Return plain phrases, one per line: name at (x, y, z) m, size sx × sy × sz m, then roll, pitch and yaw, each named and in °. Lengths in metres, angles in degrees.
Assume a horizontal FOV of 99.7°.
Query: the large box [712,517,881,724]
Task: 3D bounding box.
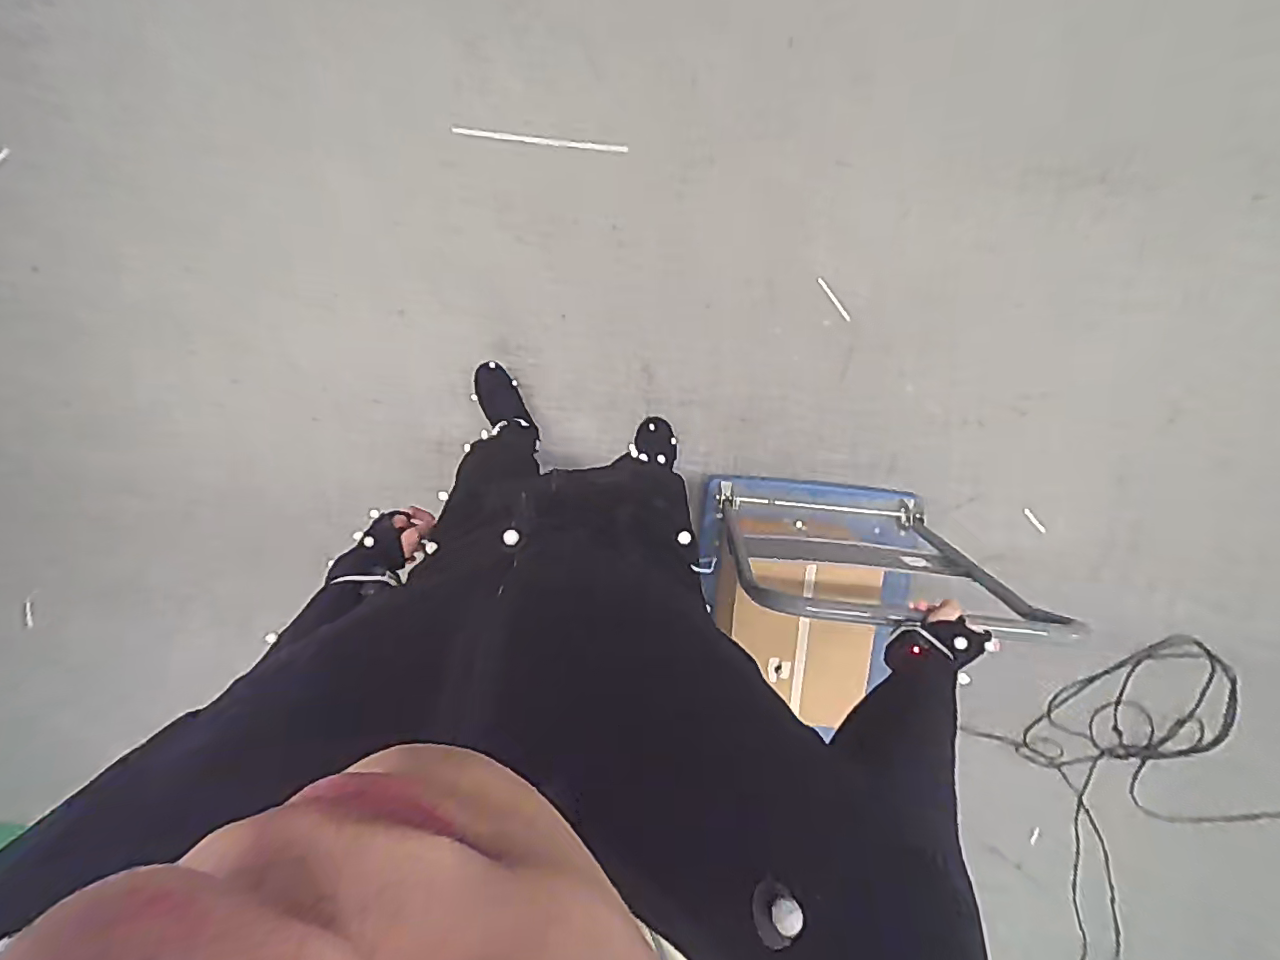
large box at (0.358, 0.325, 1.340) m, size 0.320 × 0.320 × 0.408 m, roll 4°, pitch 101°, yaw 2°
